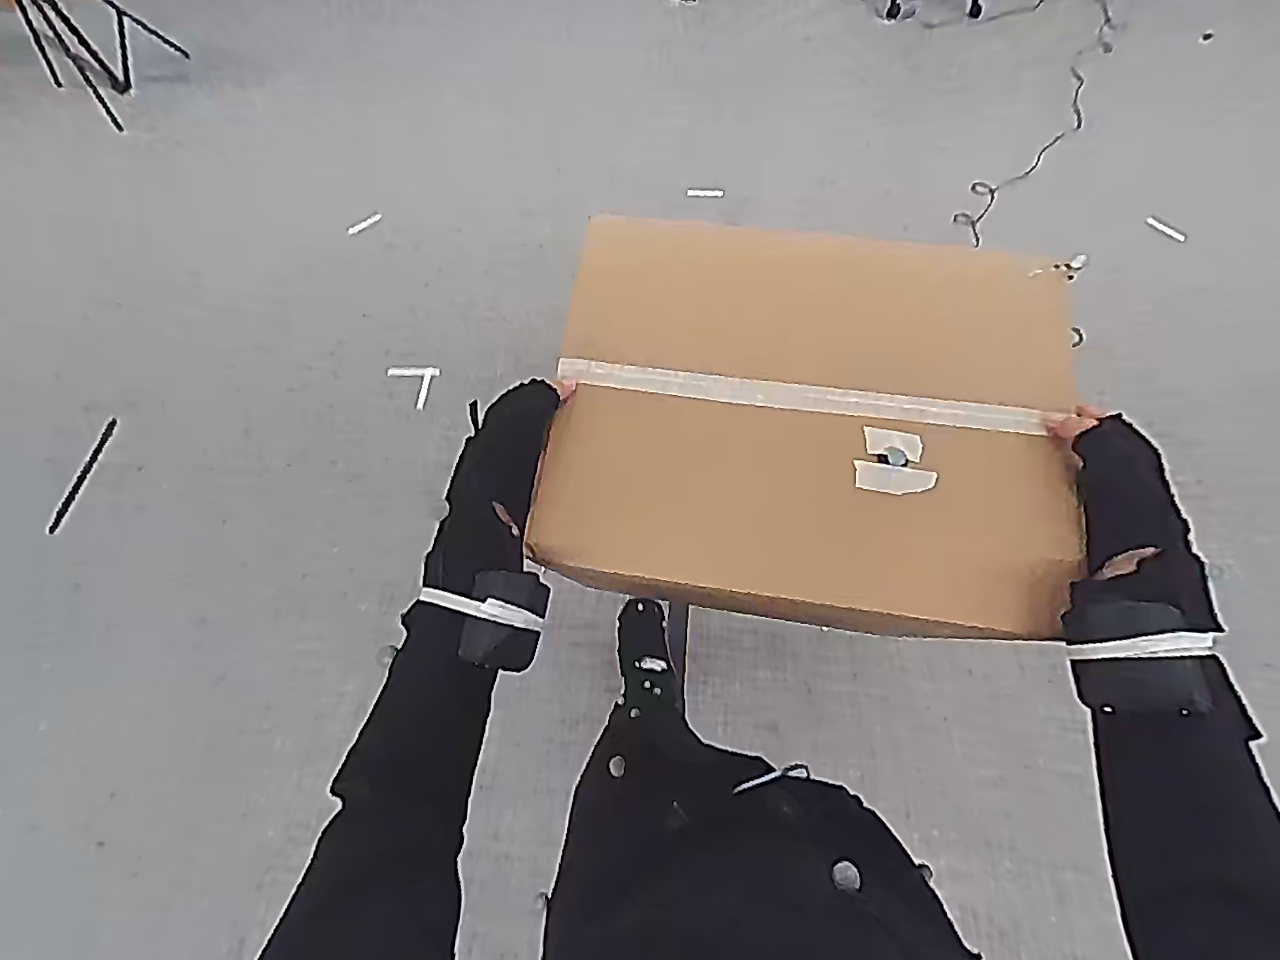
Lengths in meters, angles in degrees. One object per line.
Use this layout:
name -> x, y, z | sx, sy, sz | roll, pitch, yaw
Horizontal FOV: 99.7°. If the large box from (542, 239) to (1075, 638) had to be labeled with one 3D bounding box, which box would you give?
large box -> 0.142, -0.014, 0.584 | 0.408, 0.320, 0.320 | 7, 76, 4
